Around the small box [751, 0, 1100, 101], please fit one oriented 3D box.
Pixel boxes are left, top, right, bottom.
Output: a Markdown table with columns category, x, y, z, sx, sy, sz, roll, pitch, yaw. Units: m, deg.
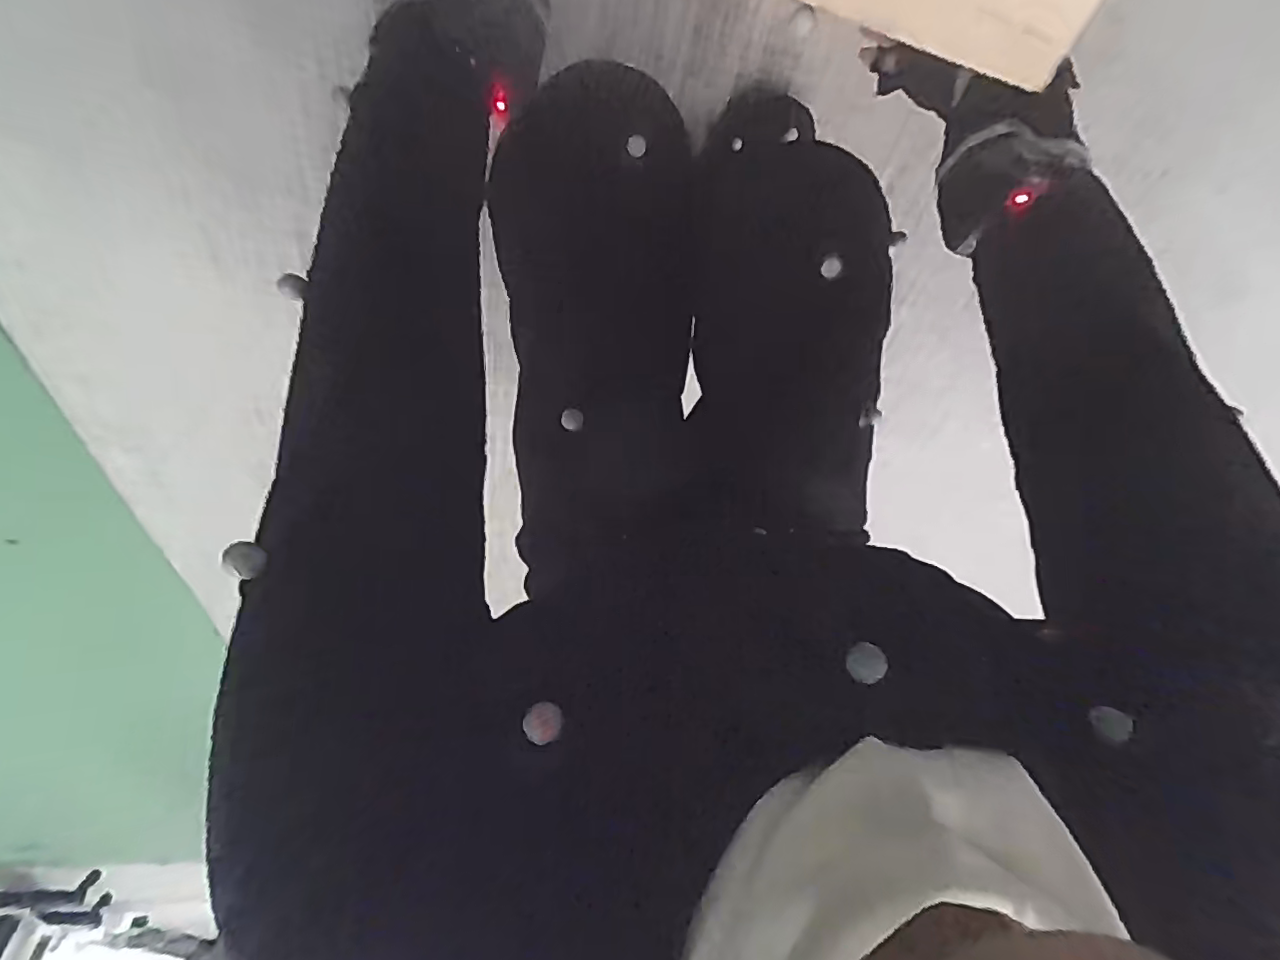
| category | x | y | z | sx | sy | sz | roll | pitch | yaw |
| --- | --- | --- | --- | --- | --- | --- | --- | --- | --- |
| small box | 0.109 | -0.293 | 0.224 | 0.179 | 0.176 | 0.168 | 10 | 134 | -12 |
